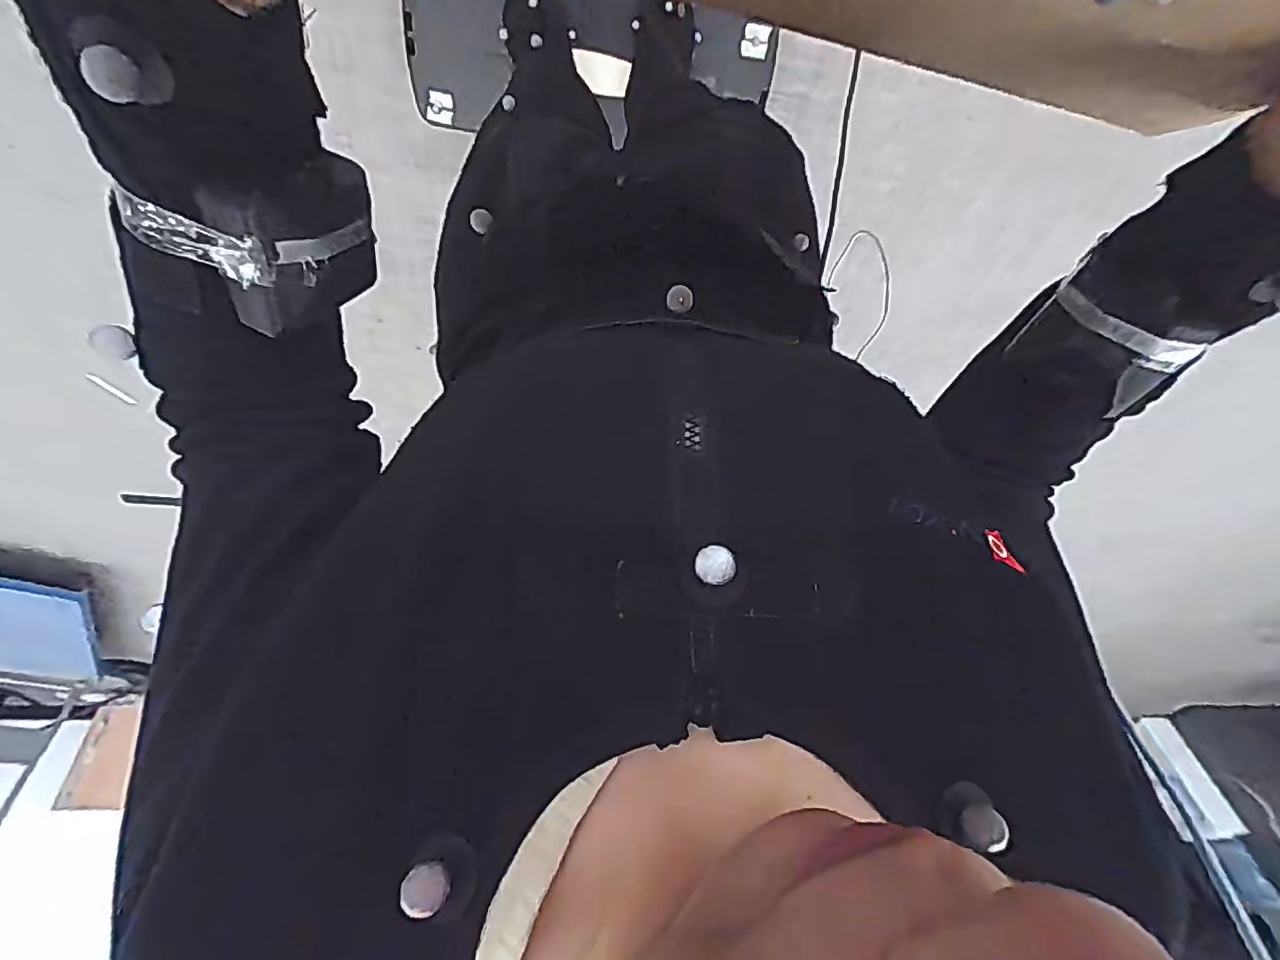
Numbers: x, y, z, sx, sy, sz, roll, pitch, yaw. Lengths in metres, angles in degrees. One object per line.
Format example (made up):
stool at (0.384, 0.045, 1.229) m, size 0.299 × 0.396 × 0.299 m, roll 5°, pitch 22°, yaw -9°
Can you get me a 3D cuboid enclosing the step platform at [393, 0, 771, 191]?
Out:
step platform at (-0.101, -0.803, 1.038) m, size 0.684 × 0.204 × 0.286 m, roll 10°, pitch 134°, yaw -12°
